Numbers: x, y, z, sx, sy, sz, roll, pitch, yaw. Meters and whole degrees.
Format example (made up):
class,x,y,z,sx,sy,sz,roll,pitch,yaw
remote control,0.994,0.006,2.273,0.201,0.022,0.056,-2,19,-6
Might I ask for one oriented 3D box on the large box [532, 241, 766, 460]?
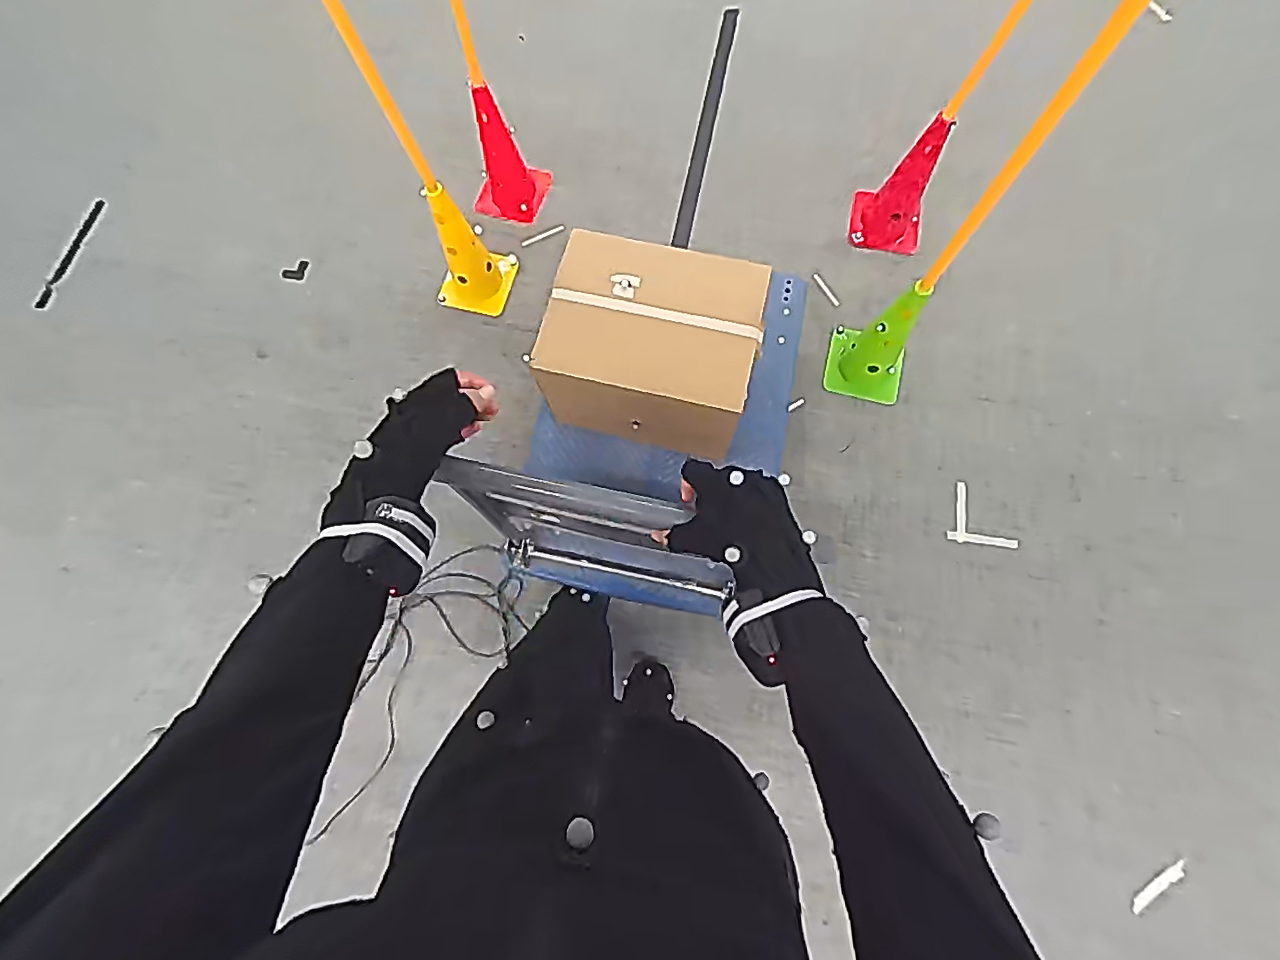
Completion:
class,x,y,z,sx,sy,sz,roll,pitch,yaw
large box,0.030,-0.262,1.178,0.408,0.320,0.320,13,76,6

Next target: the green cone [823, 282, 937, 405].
class,x,y,z,sx,sy,sz,roll,pitch,yaw
green cone,0.615,-0.360,1.332,0.202,0.368,0.200,14,75,5

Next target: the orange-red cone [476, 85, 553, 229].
class,x,y,z,sx,sy,sz,roll,pitch,yaw
orange-red cone,-0.395,-0.934,1.530,0.198,0.360,0.199,18,75,6

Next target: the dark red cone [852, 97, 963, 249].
class,x,y,z,sx,sy,sz,roll,pitch,yaw
dark red cone,0.729,-0.819,1.437,0.201,0.394,0.202,11,76,3
